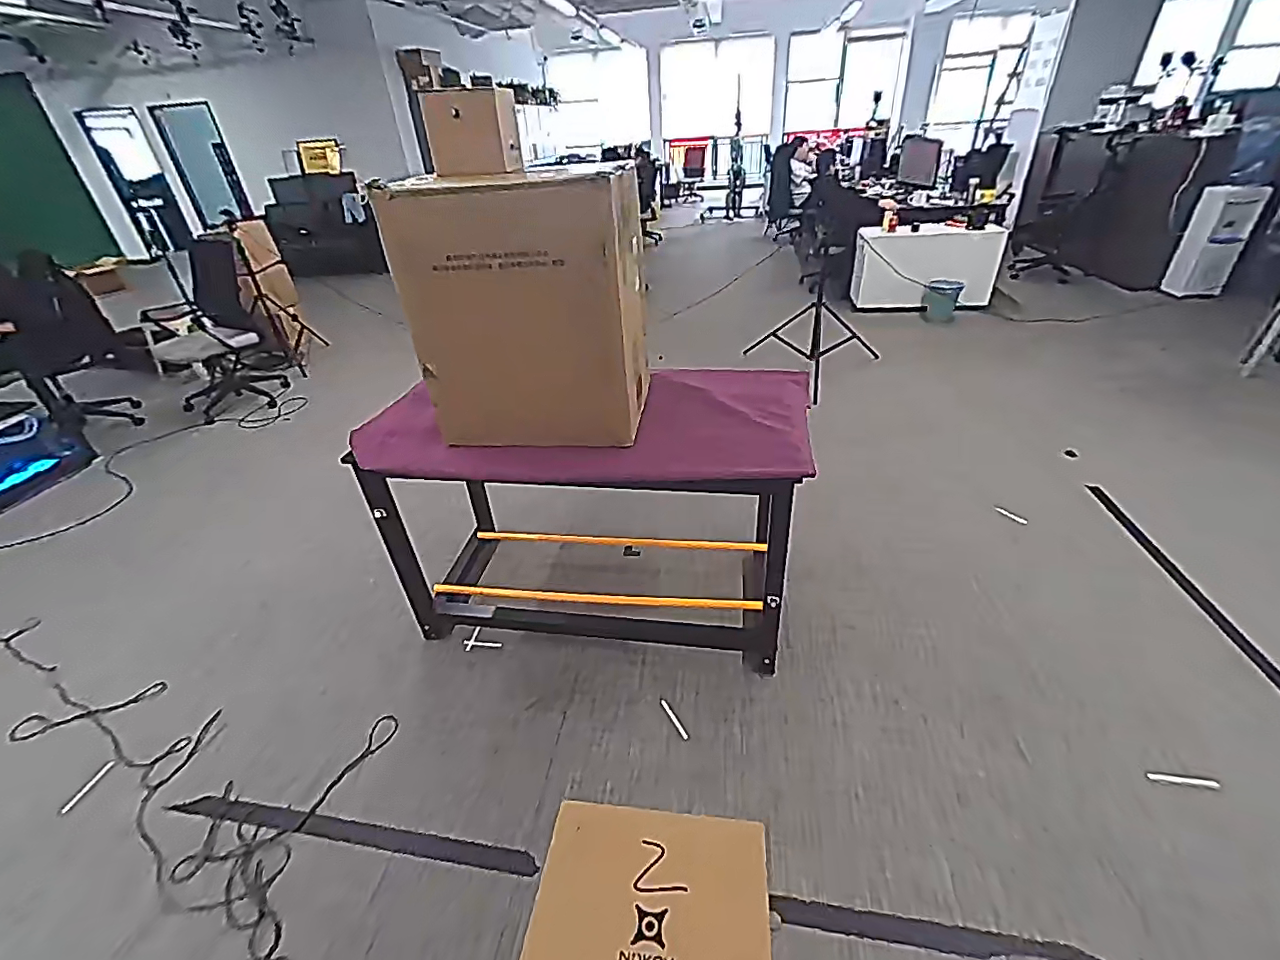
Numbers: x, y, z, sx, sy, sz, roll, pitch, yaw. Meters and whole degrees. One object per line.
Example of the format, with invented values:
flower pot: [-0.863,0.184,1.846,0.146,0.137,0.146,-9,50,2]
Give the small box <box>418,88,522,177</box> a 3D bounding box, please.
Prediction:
small box: [-0.399,-0.832,1.303,0.179,0.176,0.168,1,34,5]
